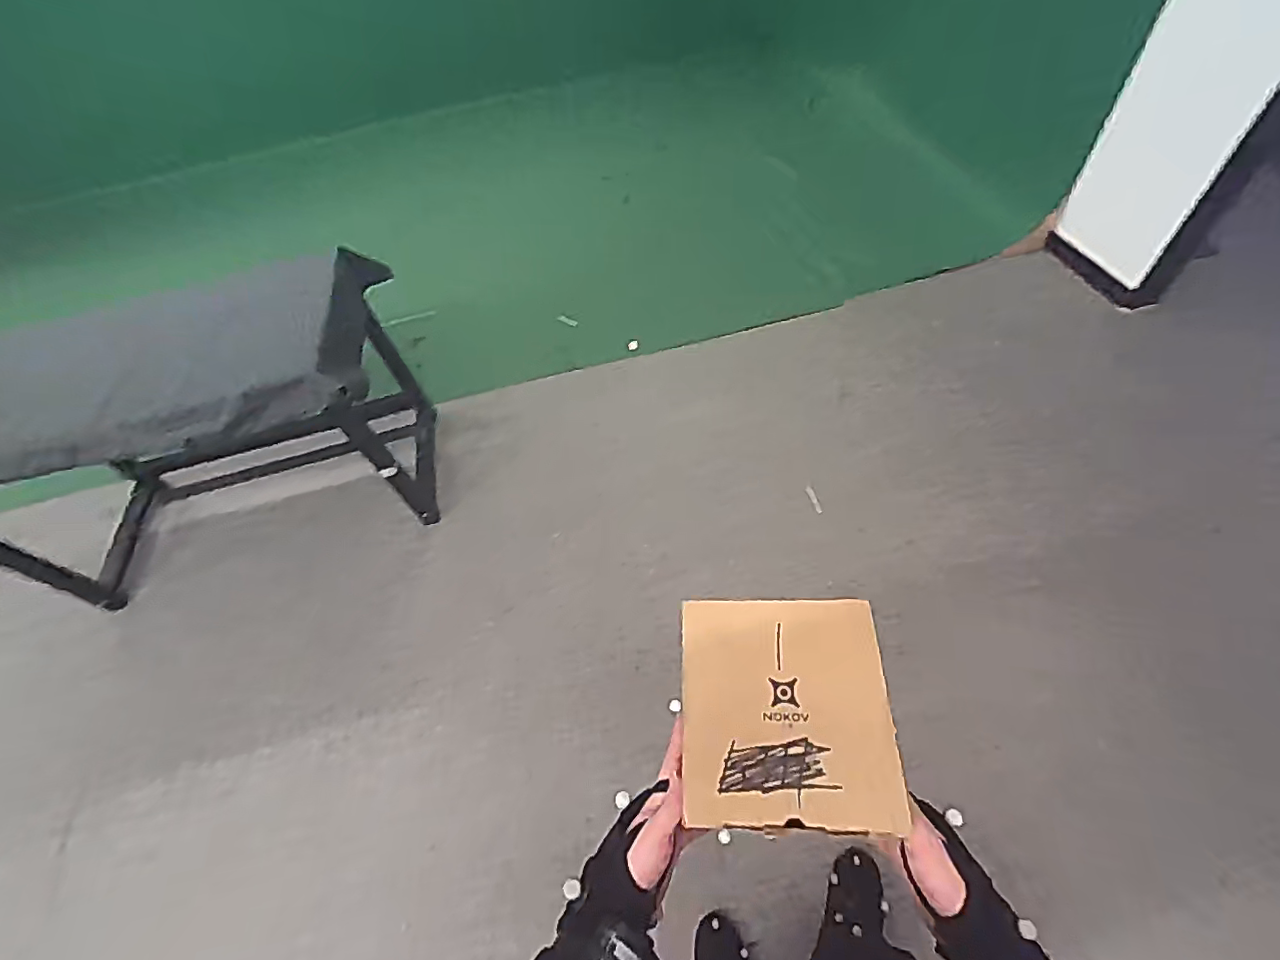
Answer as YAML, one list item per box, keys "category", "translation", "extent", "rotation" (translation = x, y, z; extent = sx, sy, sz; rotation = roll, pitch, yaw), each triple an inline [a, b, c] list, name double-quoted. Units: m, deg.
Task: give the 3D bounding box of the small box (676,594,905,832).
- category: "small box"
  translation: [0.122, 0.216, 0.501]
  extent: [0.168, 0.176, 0.179]
  rotation: [-2, 58, 7]
